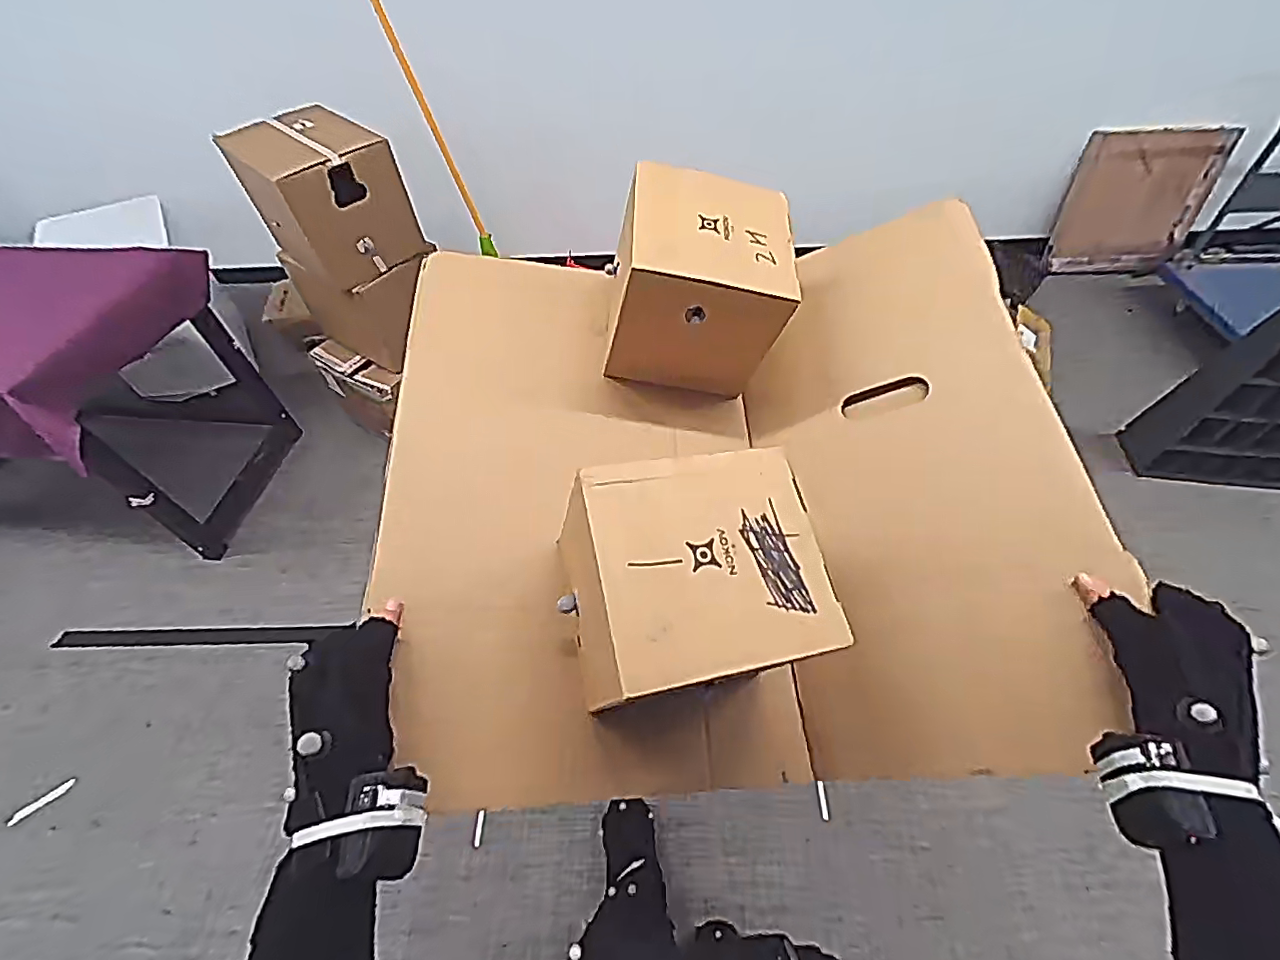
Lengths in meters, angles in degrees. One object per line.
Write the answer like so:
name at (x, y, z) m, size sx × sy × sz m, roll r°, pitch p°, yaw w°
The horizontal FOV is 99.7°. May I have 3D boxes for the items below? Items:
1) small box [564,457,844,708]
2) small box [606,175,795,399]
small box at (0.037, 0.095, 0.477) m, size 0.179 × 0.176 × 0.168 m, roll -7°, pitch 66°, yaw -16°
small box at (0.060, -0.215, 0.637) m, size 0.179 × 0.176 × 0.168 m, roll 8°, pitch 62°, yaw -11°
